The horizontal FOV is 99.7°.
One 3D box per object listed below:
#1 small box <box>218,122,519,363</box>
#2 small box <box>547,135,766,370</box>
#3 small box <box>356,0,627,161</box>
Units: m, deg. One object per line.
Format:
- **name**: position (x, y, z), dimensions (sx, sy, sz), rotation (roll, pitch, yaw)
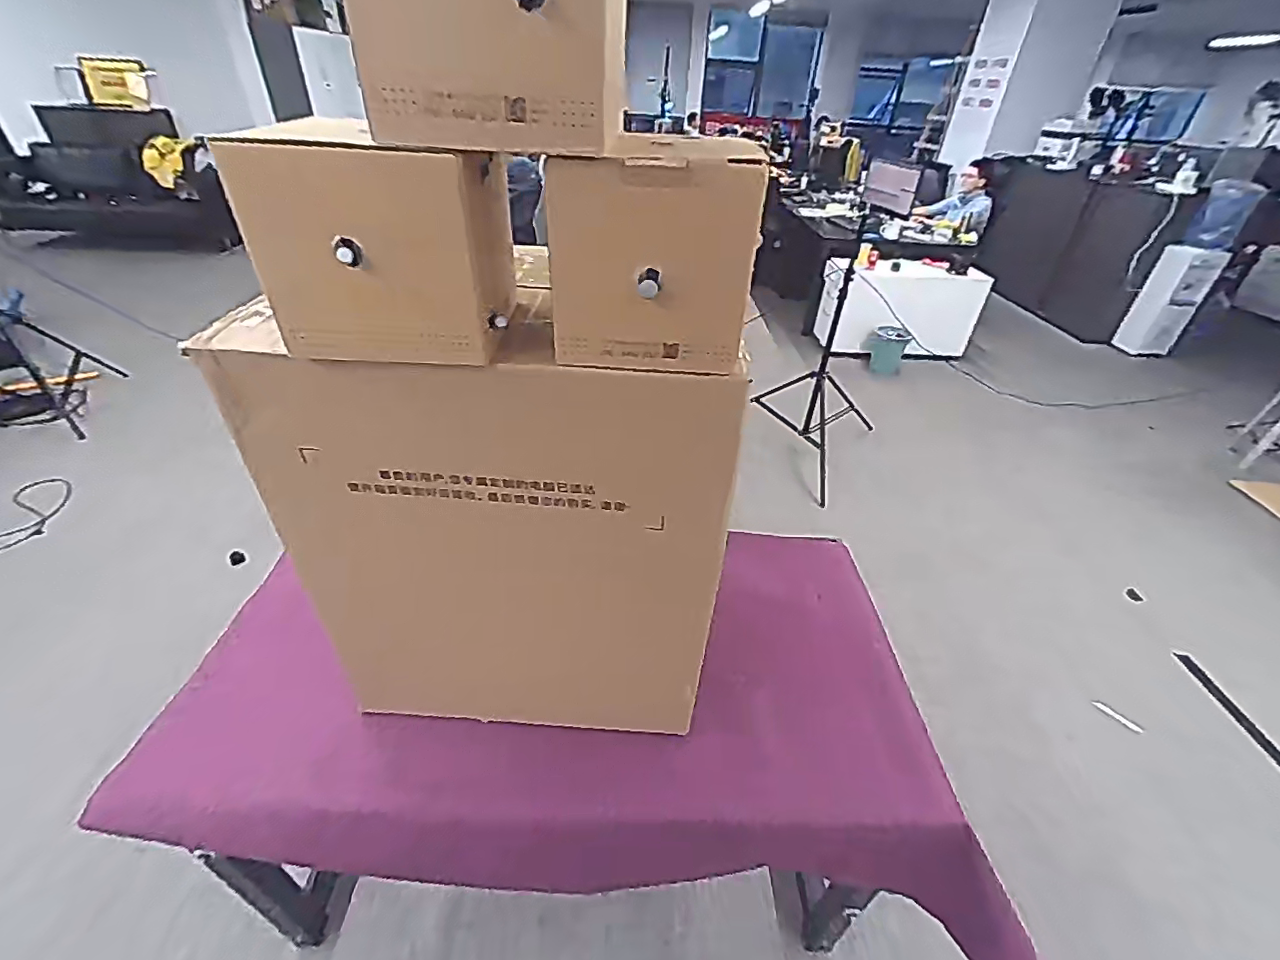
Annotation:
- **small box**: position (-0.214, -0.216, 0.493), dimensions (0.179, 0.176, 0.168), rotation (1, 37, -1)
- **small box**: position (0.015, -0.216, 0.509), dimensions (0.168, 0.176, 0.179), rotation (4, 38, 1)
- **small box**: position (-0.096, -0.346, 0.405), dimensions (0.168, 0.176, 0.179), rotation (4, 36, -1)
